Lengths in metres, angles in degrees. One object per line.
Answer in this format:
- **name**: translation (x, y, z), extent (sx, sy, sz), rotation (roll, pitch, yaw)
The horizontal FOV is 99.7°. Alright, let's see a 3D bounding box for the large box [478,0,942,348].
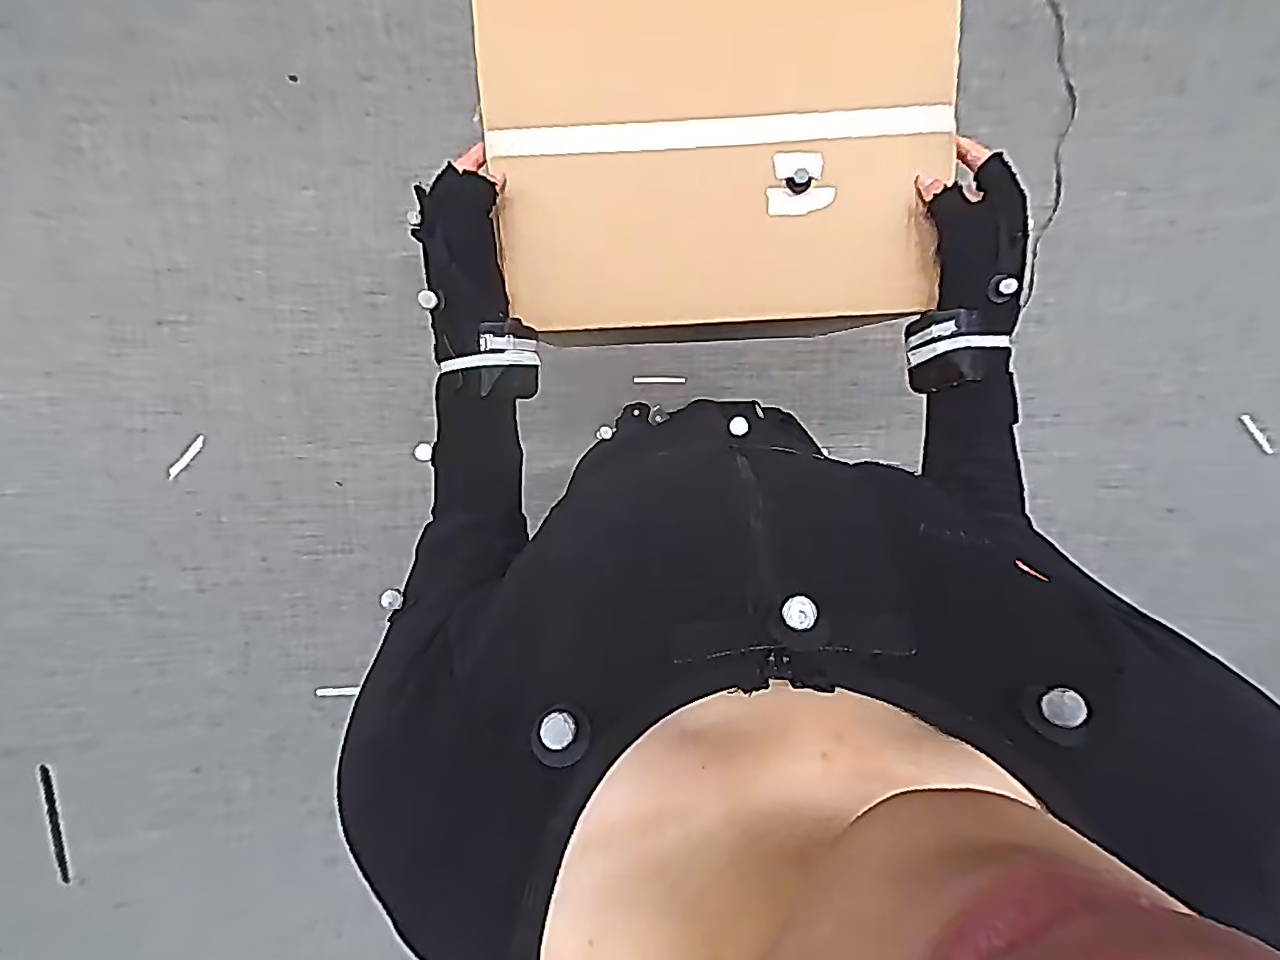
- **large box**: translation (0.063, -0.332, 0.627), extent (0.408, 0.320, 0.320), rotation (-3, 101, 0)
